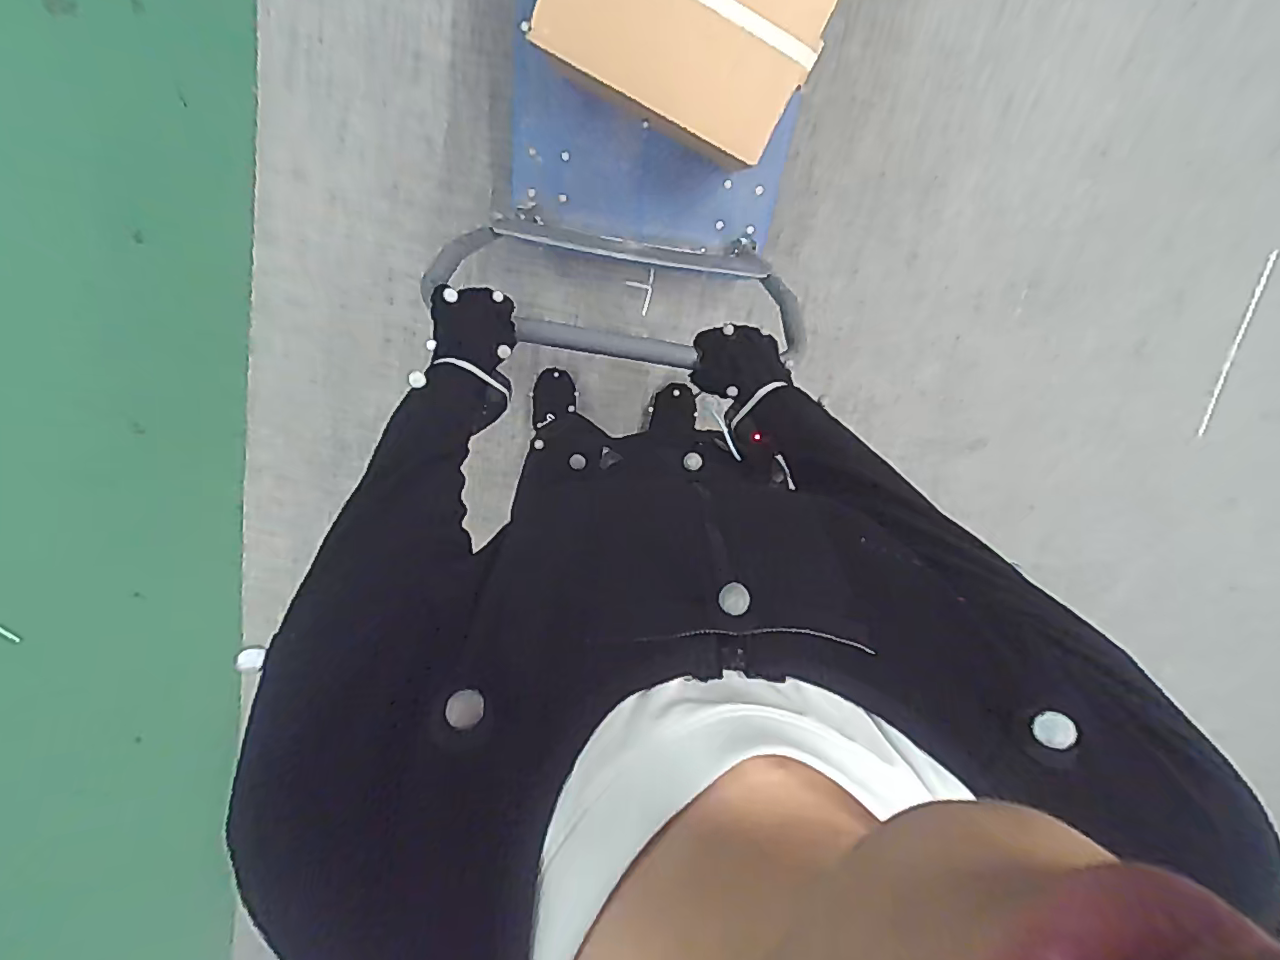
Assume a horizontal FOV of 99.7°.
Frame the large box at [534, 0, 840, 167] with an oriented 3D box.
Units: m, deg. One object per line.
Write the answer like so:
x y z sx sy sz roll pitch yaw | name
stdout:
0.089 -0.779 0.919 0.408 0.320 0.320 24 117 -8 | large box
